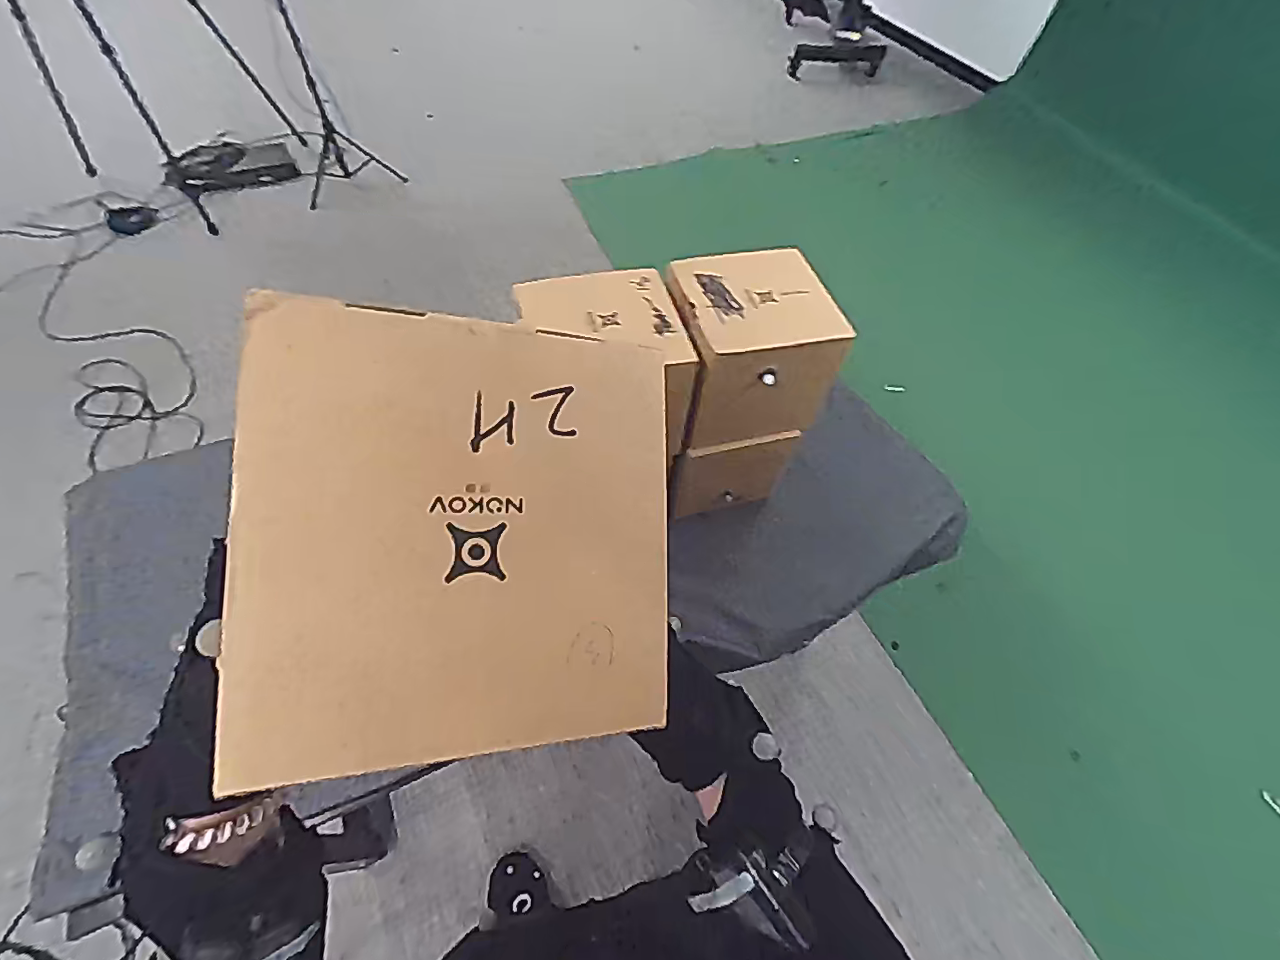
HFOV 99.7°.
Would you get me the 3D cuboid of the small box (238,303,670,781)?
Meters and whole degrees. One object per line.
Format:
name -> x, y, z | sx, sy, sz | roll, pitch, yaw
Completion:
small box -> -0.093, 0.030, 0.298 | 0.168, 0.176, 0.179 | 3, 83, -23
